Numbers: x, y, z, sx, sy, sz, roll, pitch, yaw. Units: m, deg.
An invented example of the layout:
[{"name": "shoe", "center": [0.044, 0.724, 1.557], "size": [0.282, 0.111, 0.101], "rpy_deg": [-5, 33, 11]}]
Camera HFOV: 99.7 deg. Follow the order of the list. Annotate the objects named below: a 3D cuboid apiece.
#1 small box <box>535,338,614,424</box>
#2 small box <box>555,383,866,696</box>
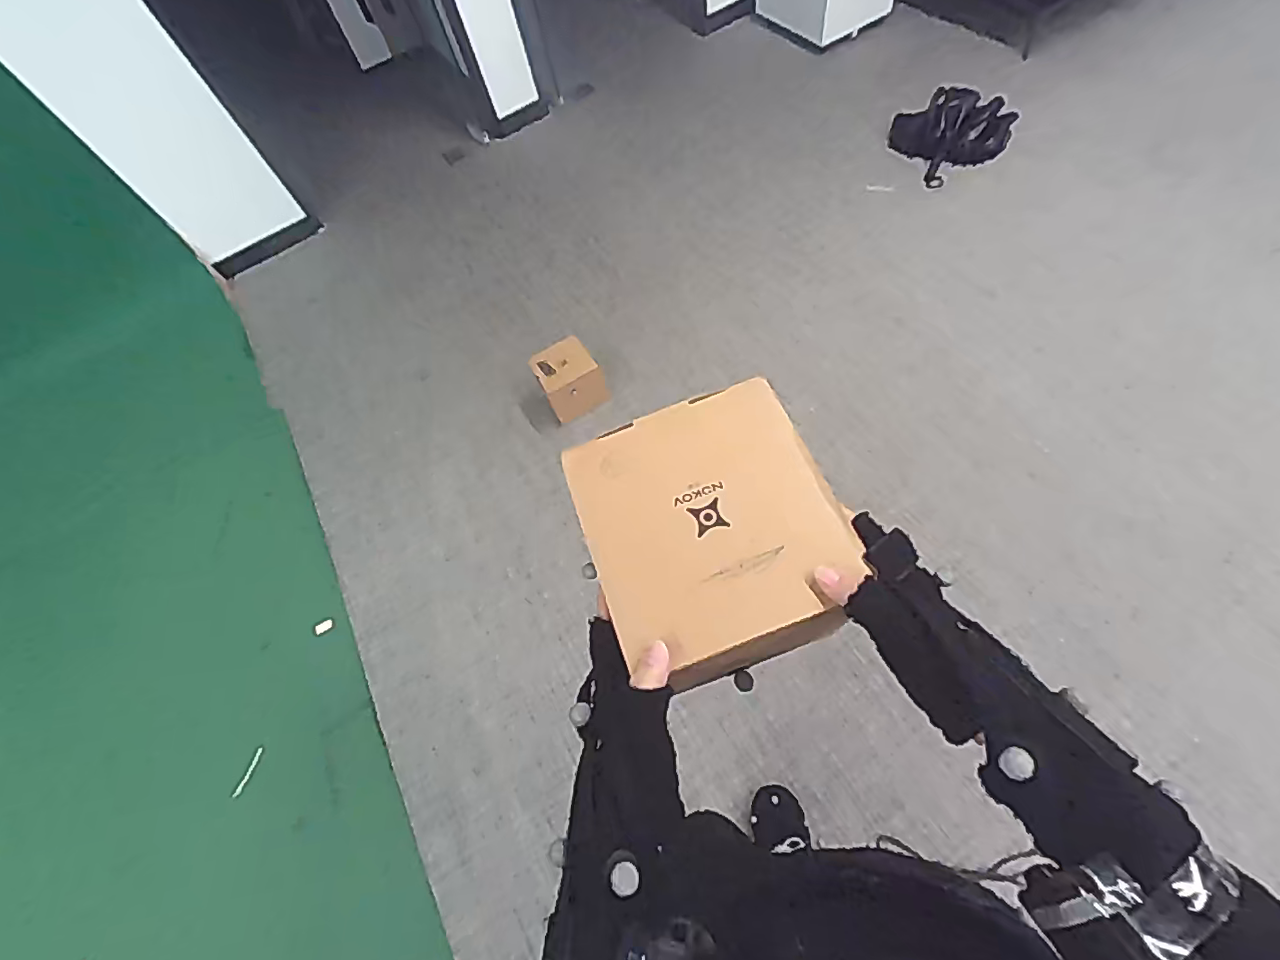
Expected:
[{"name": "small box", "center": [-0.203, -0.310, 1.719], "size": [0.179, 0.176, 0.168], "rpy_deg": [-30, 61, -6]}, {"name": "small box", "center": [0.048, 0.059, 0.437], "size": [0.168, 0.176, 0.179], "rpy_deg": [-20, 64, 0]}]
